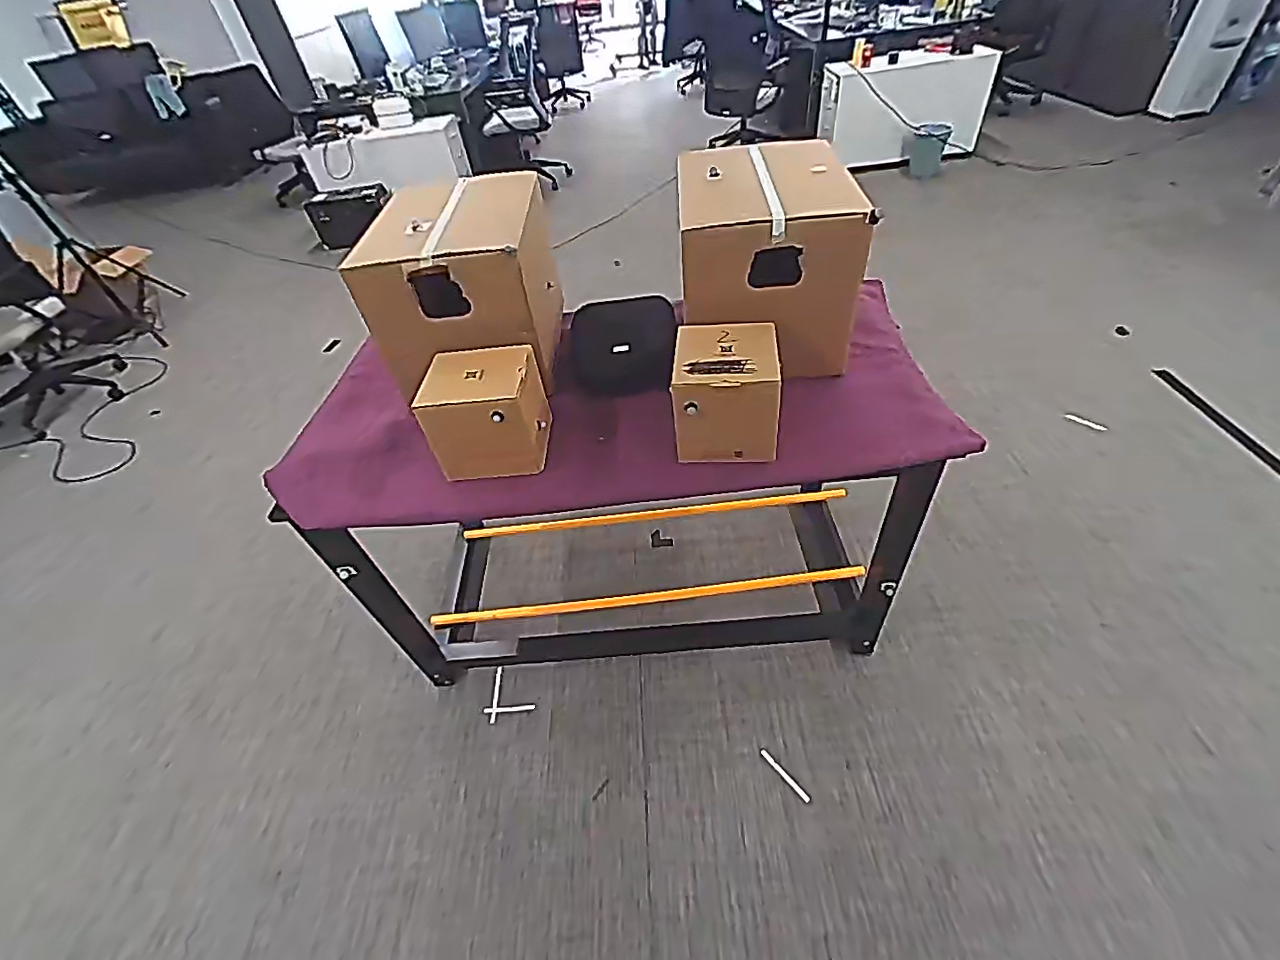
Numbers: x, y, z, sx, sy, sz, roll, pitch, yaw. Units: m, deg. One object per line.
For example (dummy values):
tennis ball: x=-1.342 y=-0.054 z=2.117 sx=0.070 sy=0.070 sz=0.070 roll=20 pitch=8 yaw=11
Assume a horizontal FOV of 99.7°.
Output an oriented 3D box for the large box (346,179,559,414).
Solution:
large box: x=-0.355 y=-0.398 z=1.163 sx=0.320 sy=0.320 sz=0.408 roll=-7 pitch=47 yaw=2
